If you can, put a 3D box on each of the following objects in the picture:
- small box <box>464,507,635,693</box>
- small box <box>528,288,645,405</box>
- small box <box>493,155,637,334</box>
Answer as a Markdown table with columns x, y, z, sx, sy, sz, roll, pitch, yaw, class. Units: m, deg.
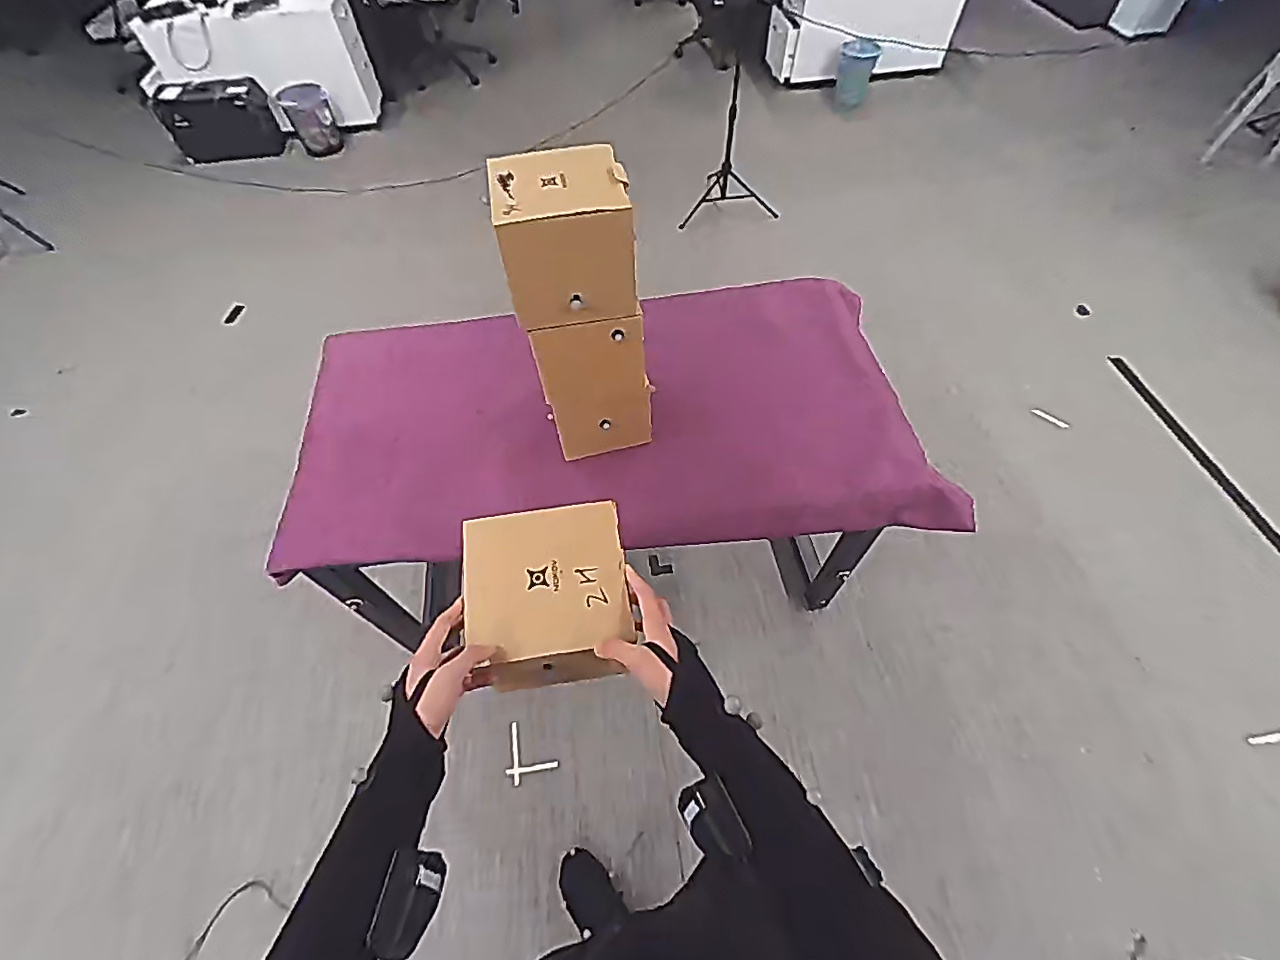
| x | y | z | sx | sy | sz | roll | pitch | yaw | class |
| --- | --- | --- | --- | --- | --- | --- | --- | --- | --- |
| -0.102 | 0.150 | 0.653 | 0.179 | 0.176 | 0.168 | -6 | 61 | -6 | small box |
| -0.091 | -0.244 | 0.911 | 0.179 | 0.176 | 0.168 | -10 | 57 | -5 | small box |
| -0.103 | -0.332 | 0.773 | 0.179 | 0.176 | 0.168 | -9 | 56 | -6 | small box |
